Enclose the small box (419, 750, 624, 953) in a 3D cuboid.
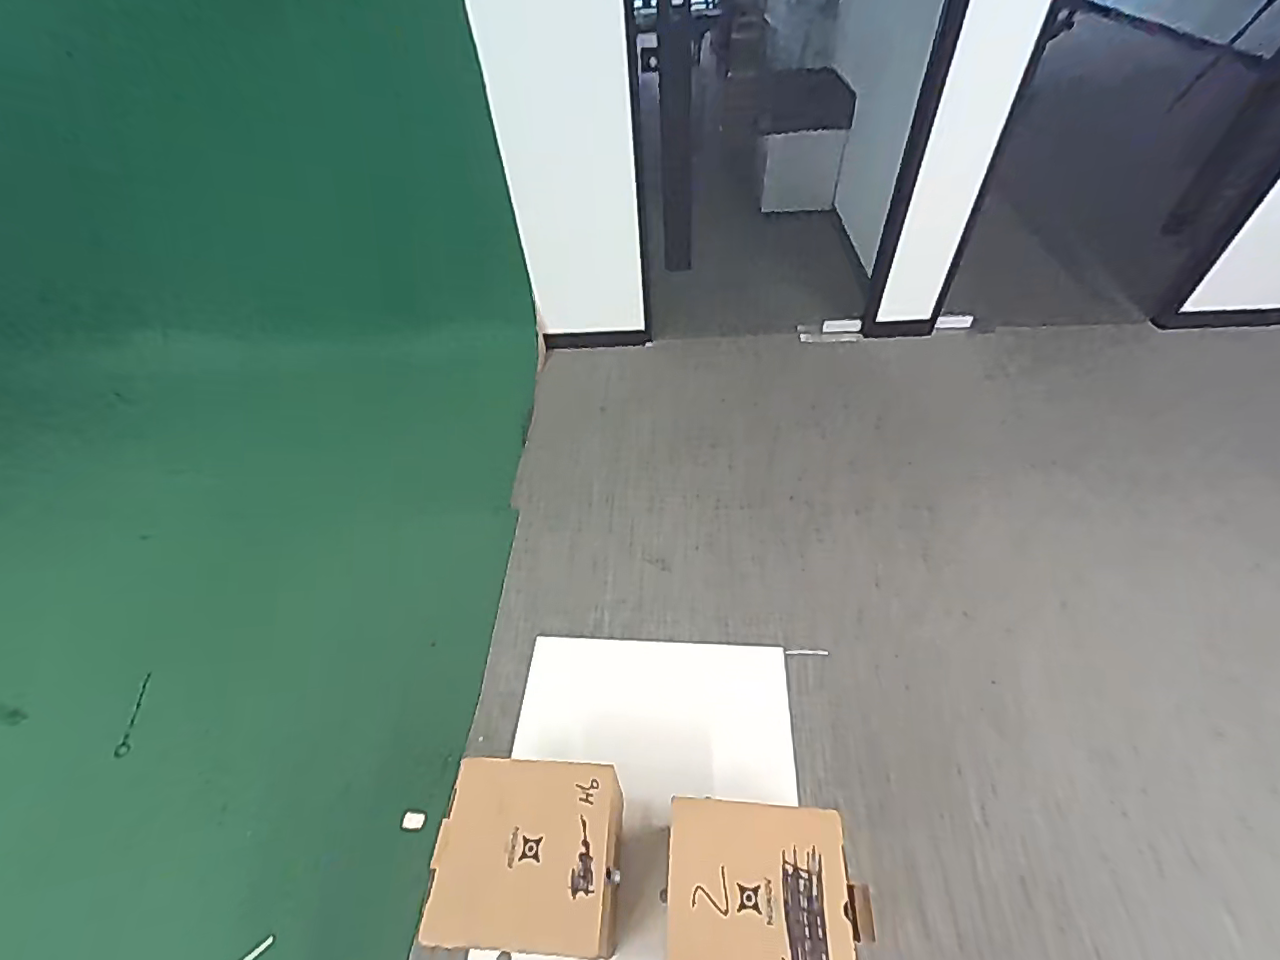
[{"bbox_3d":[-0.117,0.426,0.621,0.179,0.176,0.168,1,48,4],"label":"small box"}]
